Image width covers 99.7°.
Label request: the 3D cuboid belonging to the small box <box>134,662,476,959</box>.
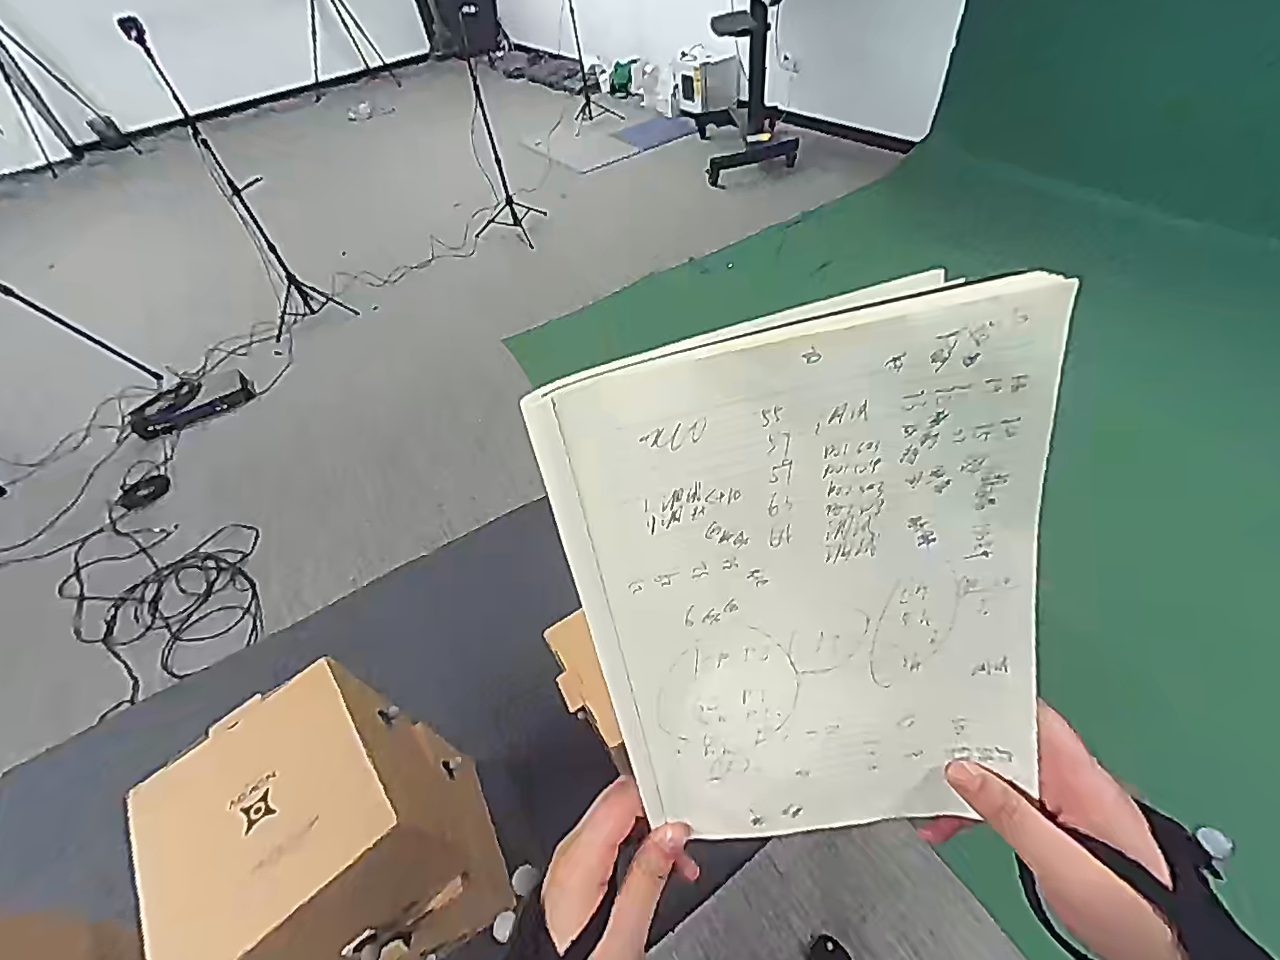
[{"bbox_3d":[-0.274,0.302,0.467,0.168,0.176,0.179,-37,53,-21],"label":"small box"}]

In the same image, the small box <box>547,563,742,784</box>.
[{"bbox_3d":[0.011,0.246,0.688,0.179,0.176,0.168,-31,50,-16],"label":"small box"}]

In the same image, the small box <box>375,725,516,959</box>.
[{"bbox_3d":[-0.257,0.411,0.586,0.168,0.176,0.179,-28,49,-14],"label":"small box"}]
